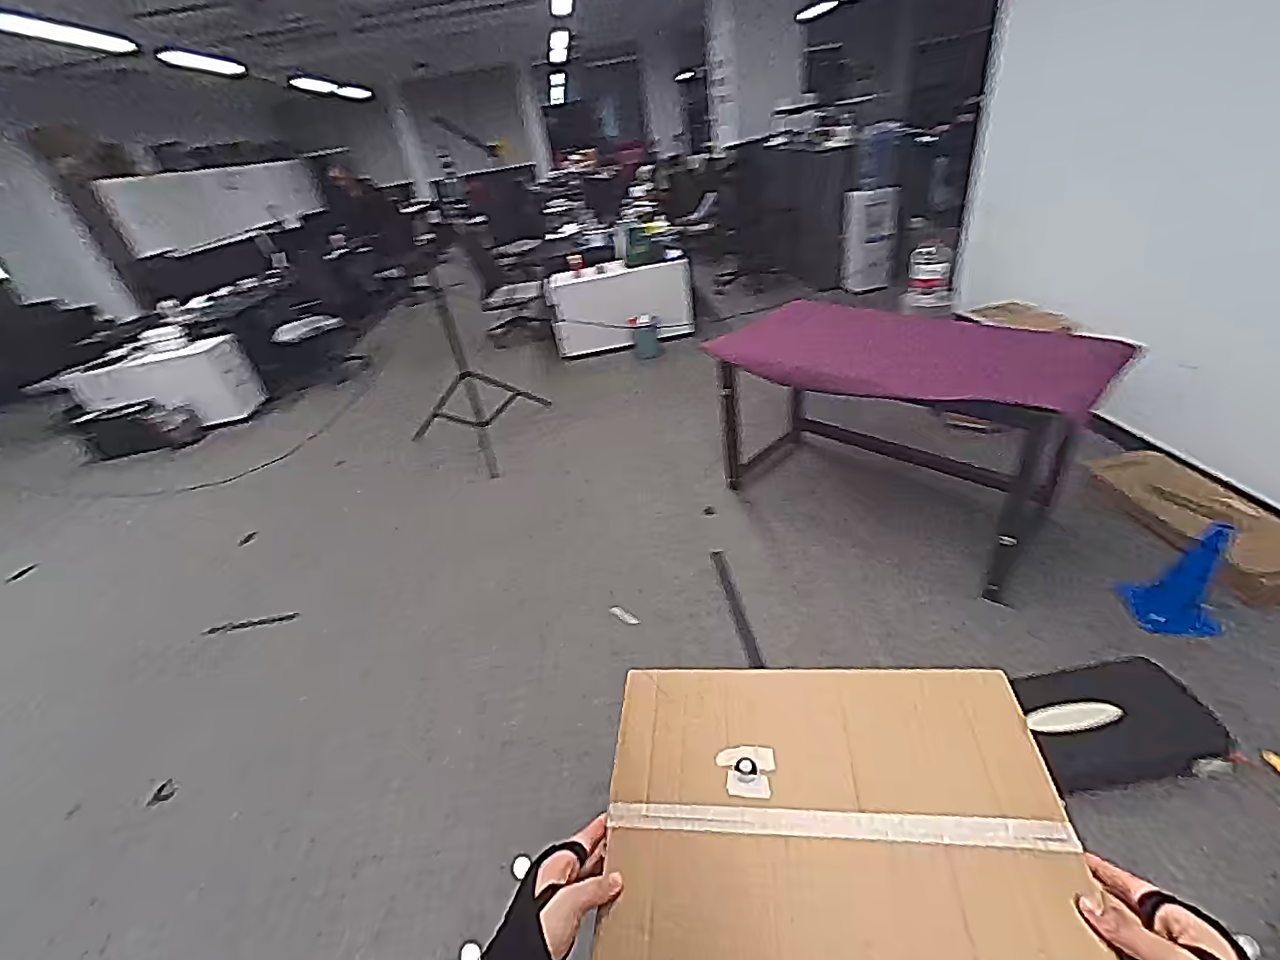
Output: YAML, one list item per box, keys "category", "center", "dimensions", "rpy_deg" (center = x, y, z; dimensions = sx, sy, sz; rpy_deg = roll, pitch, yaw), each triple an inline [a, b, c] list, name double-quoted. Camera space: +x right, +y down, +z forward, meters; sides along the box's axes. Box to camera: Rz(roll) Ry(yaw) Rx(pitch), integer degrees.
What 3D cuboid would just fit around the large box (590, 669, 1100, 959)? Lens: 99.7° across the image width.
- category: "large box"
  center: [0.188, 0.436, 0.598]
  dimensions: [0.408, 0.320, 0.320]
  rpy_deg: [-6, 39, 11]
